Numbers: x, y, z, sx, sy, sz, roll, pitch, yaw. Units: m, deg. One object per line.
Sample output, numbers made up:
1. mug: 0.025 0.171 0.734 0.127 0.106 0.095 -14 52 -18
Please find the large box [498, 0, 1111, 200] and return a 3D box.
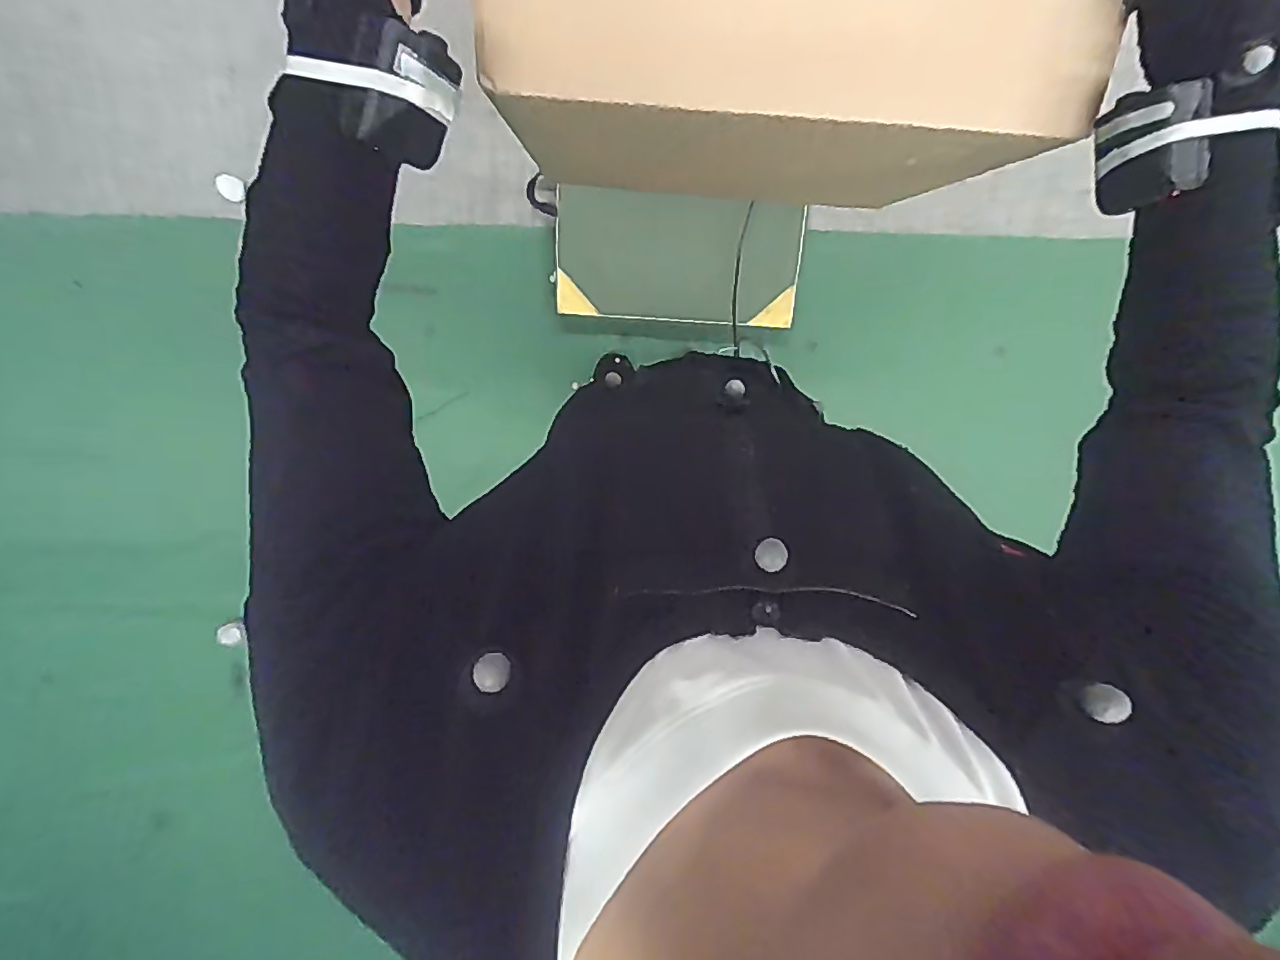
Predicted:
1. large box: 0.104 -0.440 0.457 0.408 0.320 0.320 2 110 -3
